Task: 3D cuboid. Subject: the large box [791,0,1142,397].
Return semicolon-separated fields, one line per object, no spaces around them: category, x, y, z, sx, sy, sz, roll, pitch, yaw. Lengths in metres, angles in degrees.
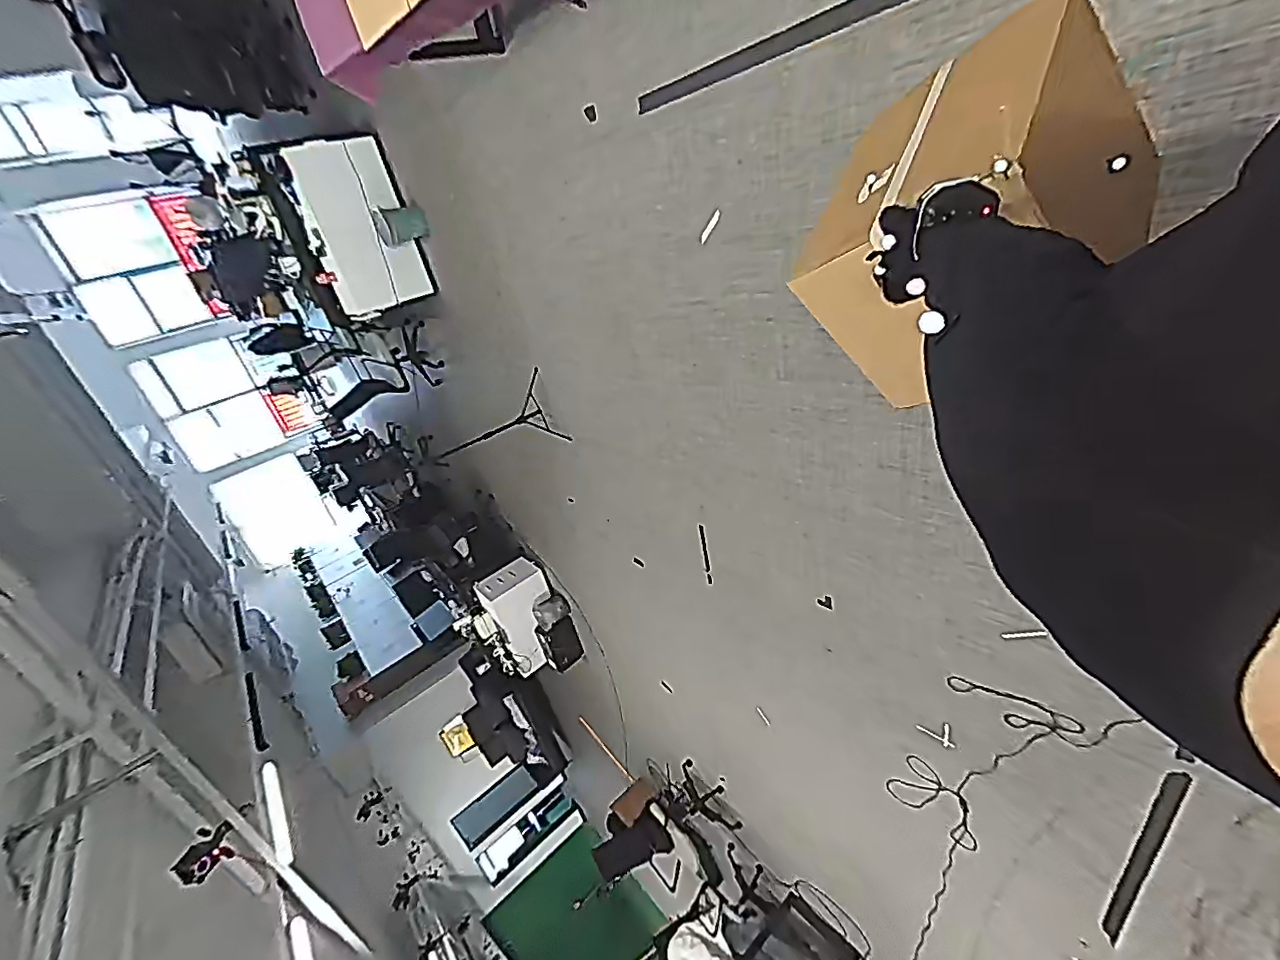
large box;0.498;-0.398;0.820;0.320;0.408;0.320;36;158;-23
